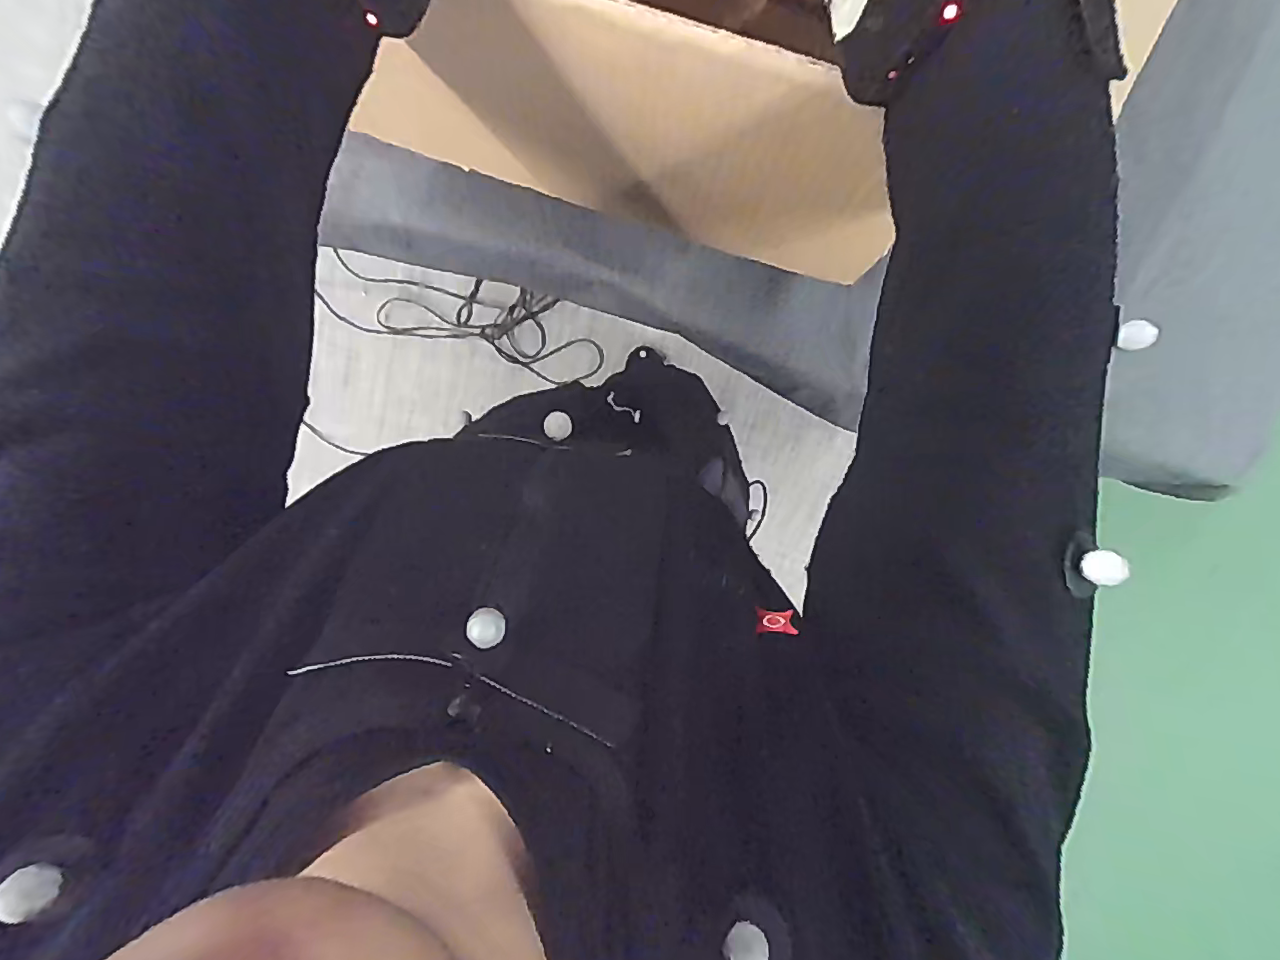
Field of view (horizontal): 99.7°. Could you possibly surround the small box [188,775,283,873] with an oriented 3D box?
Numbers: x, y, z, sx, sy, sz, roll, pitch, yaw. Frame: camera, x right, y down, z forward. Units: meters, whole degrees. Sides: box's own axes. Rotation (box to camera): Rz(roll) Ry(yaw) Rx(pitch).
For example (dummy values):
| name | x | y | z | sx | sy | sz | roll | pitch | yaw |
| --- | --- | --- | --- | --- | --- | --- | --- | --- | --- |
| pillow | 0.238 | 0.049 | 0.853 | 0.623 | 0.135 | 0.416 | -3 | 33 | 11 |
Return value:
| name | x | y | z | sx | sy | sz | roll | pitch | yaw |
| --- | --- | --- | --- | --- | --- | --- | --- | --- | --- |
| small box | -1.271 | 1.077 | 1.708 | 0.168 | 0.176 | 0.179 | 22 | 108 | -1 |
